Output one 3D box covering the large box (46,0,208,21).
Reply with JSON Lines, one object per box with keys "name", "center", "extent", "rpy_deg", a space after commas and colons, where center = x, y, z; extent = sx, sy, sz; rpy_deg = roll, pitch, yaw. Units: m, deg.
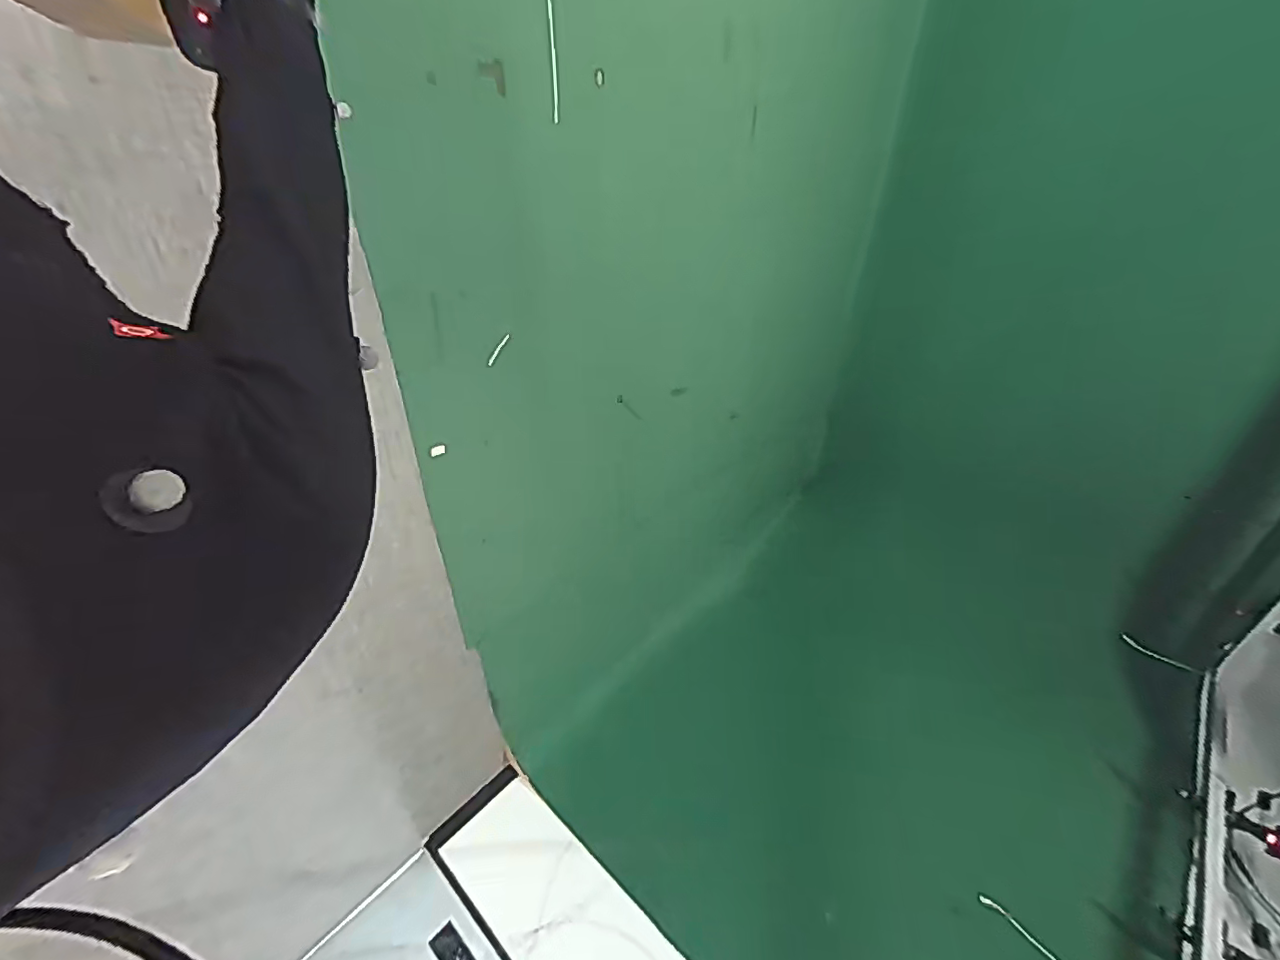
{"name": "large box", "center": [-0.519, -0.562, 0.303], "extent": [0.408, 0.320, 0.320], "rpy_deg": [1, 114, -59]}
